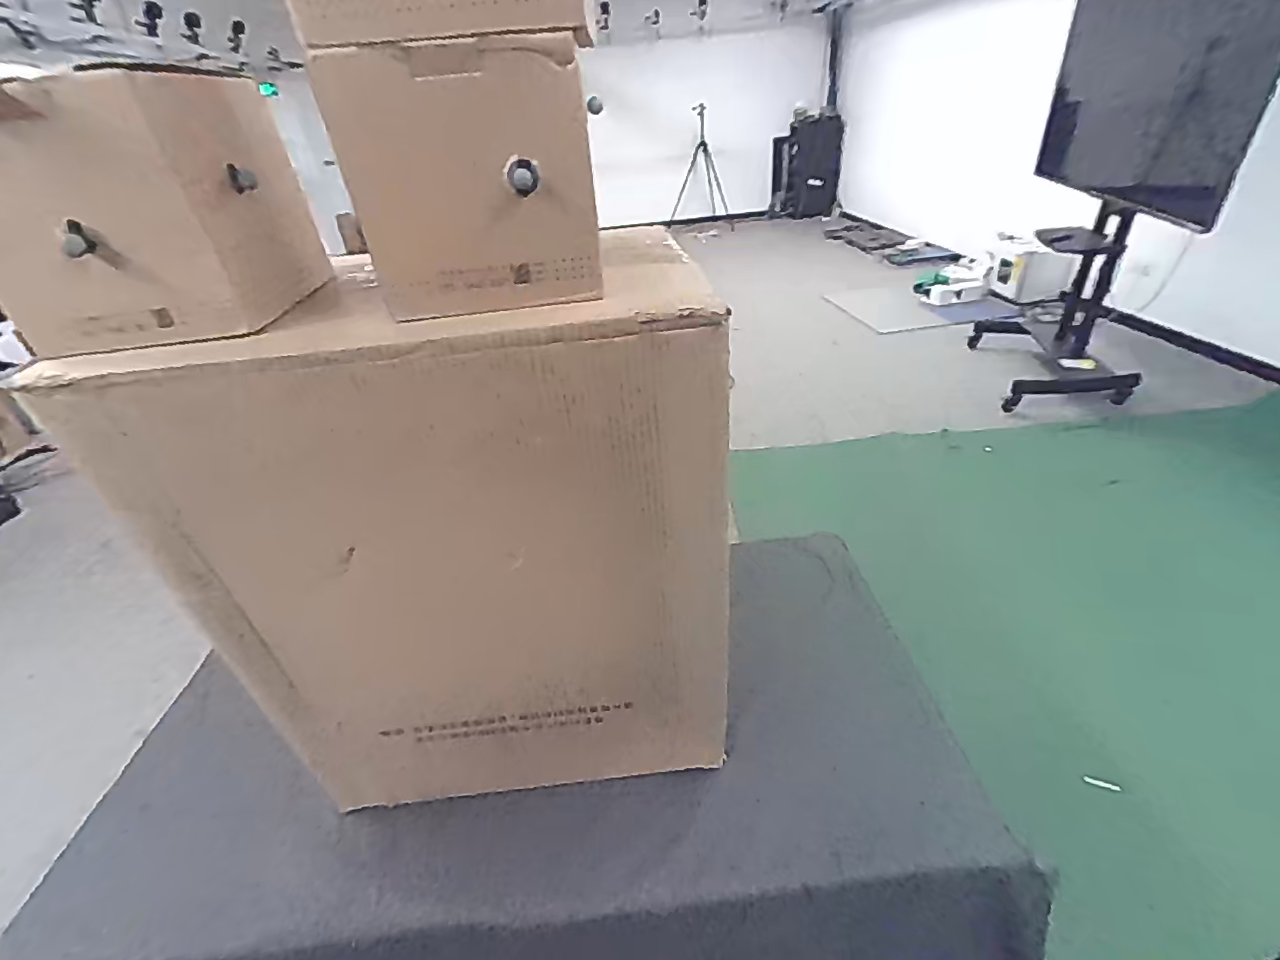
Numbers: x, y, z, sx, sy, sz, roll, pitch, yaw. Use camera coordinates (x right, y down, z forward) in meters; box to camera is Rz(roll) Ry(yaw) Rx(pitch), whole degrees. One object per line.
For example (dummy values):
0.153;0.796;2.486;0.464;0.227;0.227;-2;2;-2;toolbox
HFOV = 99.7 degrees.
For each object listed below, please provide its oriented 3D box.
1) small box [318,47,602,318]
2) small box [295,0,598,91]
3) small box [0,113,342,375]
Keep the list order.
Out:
-0.122;-0.239;0.450;0.168;0.176;0.179;-5;34;-2;small box
-0.124;-0.361;0.366;0.179;0.176;0.168;-4;34;2;small box
-0.387;-0.198;0.461;0.168;0.176;0.179;-10;35;-3;small box
